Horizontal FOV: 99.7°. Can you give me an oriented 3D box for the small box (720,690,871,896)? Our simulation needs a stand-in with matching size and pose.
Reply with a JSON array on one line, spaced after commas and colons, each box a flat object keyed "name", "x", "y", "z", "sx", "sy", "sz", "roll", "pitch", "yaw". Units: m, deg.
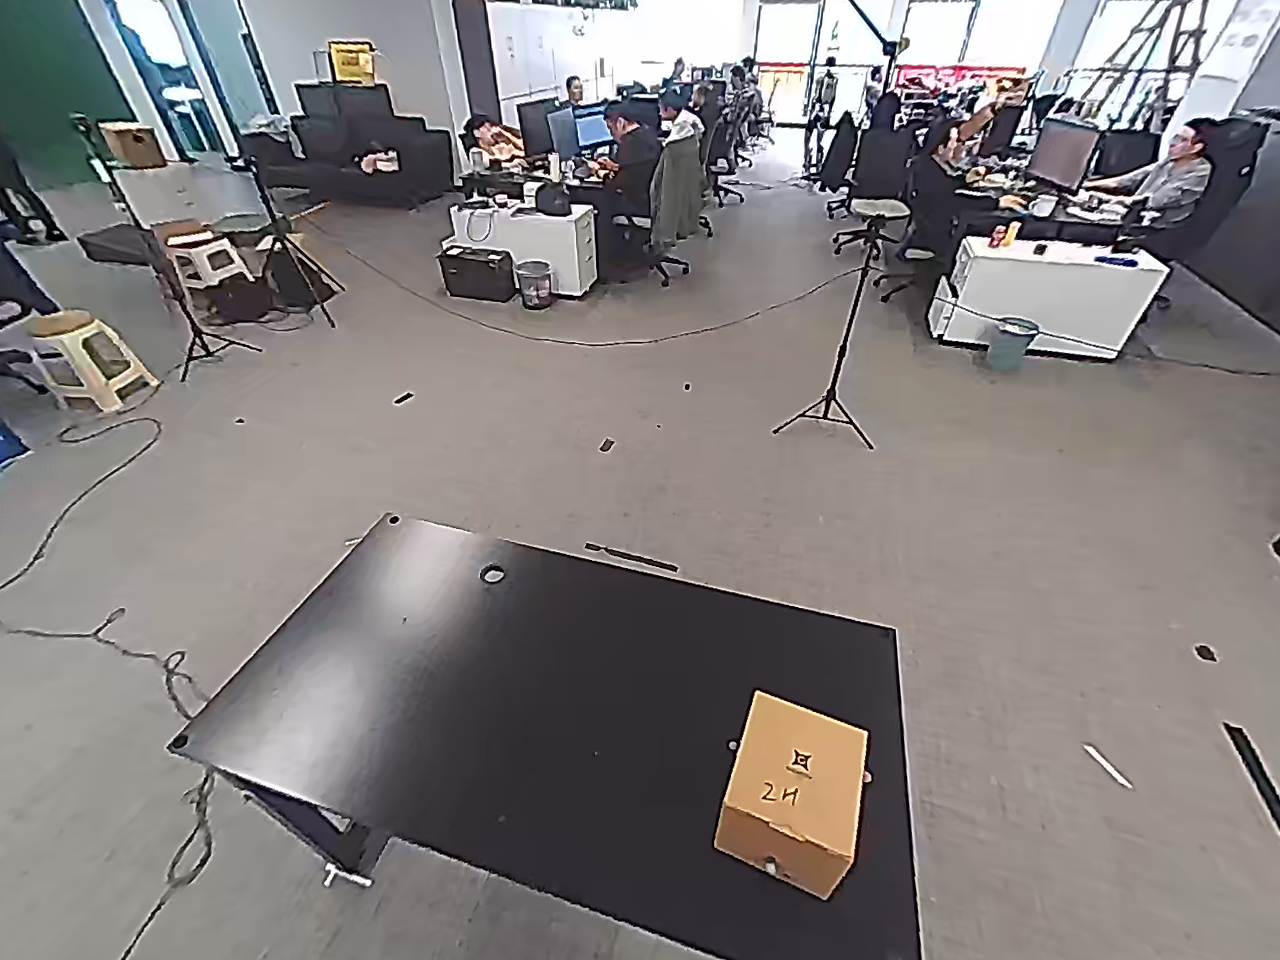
[{"name": "small box", "x": 0.220, "y": 0.449, "z": 0.783, "sx": 0.168, "sy": 0.176, "sz": 0.179, "roll": 15, "pitch": 42, "yaw": 19}]
